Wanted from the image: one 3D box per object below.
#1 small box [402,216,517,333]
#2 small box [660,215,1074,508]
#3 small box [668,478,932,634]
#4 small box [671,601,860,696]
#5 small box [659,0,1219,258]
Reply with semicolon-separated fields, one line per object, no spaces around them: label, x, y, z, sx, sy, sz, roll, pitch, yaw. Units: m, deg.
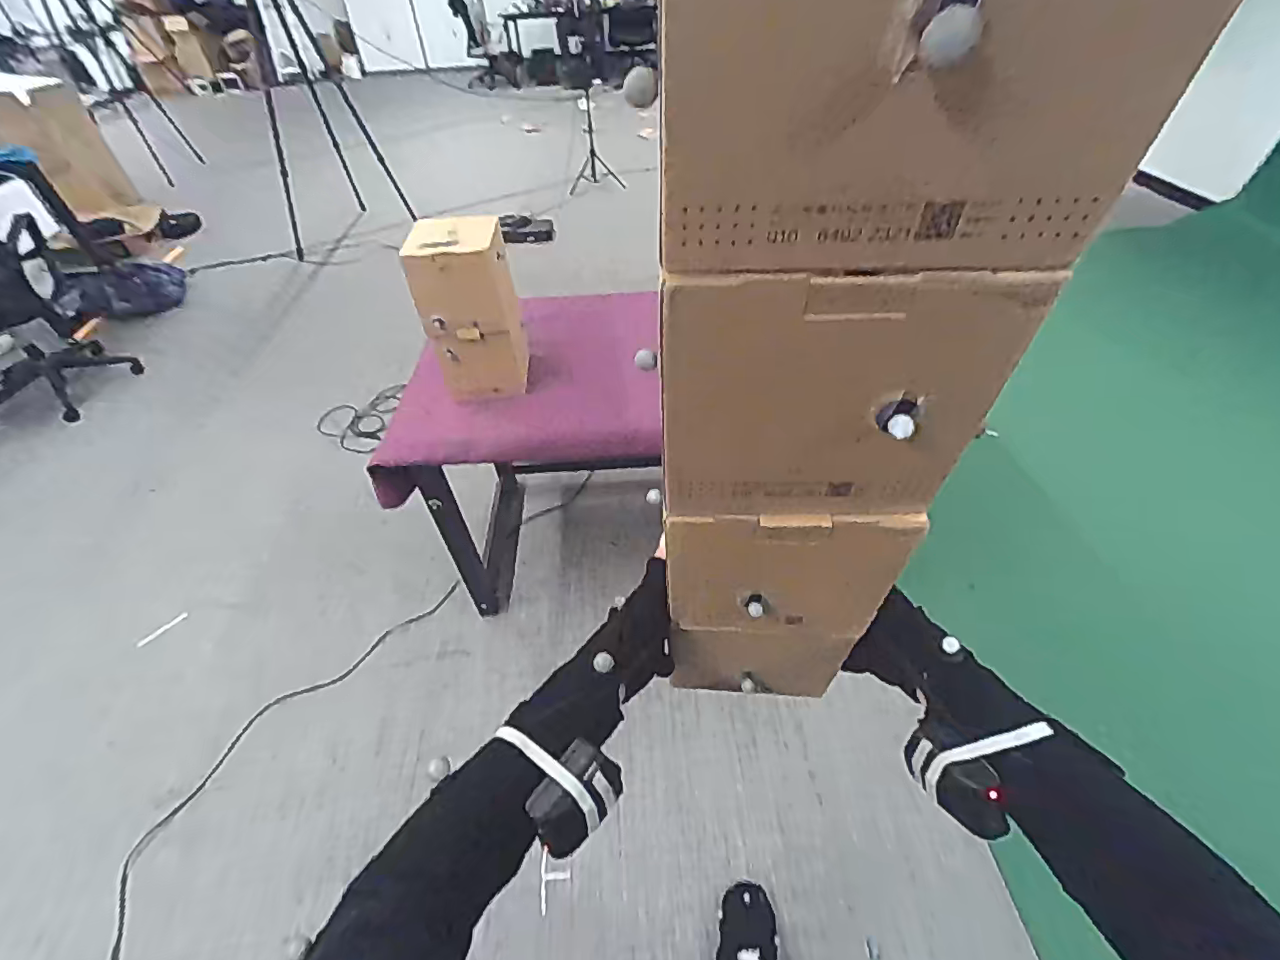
small box;-0.350;-0.411;1.089;0.168;0.176;0.179;-1;46;-1
small box;0.098;-0.096;0.330;0.168;0.176;0.179;0;52;3
small box;0.110;0.010;0.454;0.168;0.176;0.179;1;52;5
small box;0.120;0.113;0.581;0.168;0.176;0.179;2;53;6
small box;0.091;-0.201;0.204;0.168;0.176;0.179;1;52;3
